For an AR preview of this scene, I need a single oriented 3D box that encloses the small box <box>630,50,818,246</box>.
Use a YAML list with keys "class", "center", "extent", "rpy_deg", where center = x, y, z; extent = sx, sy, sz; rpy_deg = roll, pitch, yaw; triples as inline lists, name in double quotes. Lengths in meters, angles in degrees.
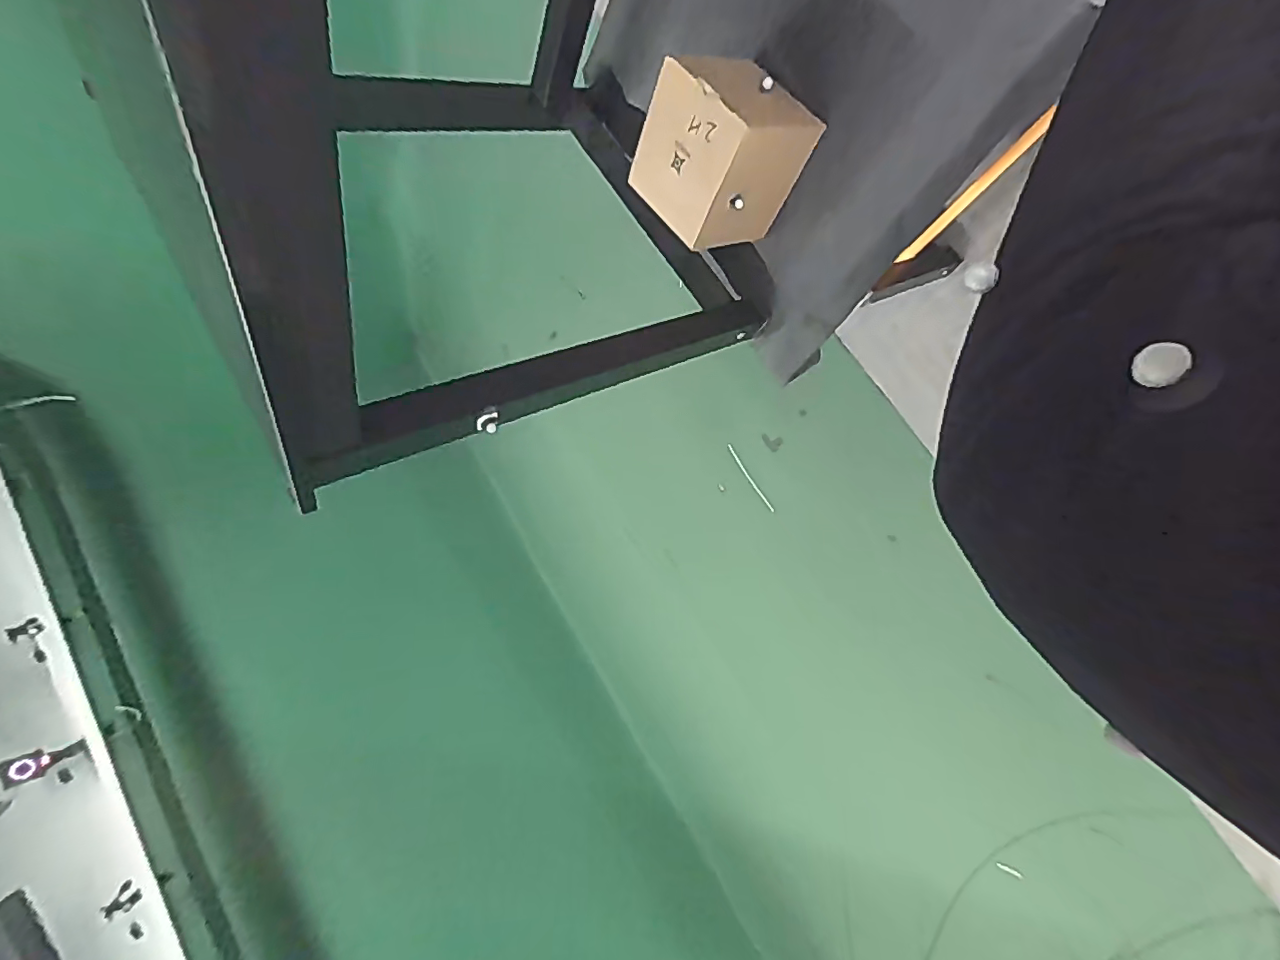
- class: "small box"
  center: [0.118, -0.472, 0.780]
  extent: [0.168, 0.176, 0.179]
  rpy_deg: [53, 145, 16]
